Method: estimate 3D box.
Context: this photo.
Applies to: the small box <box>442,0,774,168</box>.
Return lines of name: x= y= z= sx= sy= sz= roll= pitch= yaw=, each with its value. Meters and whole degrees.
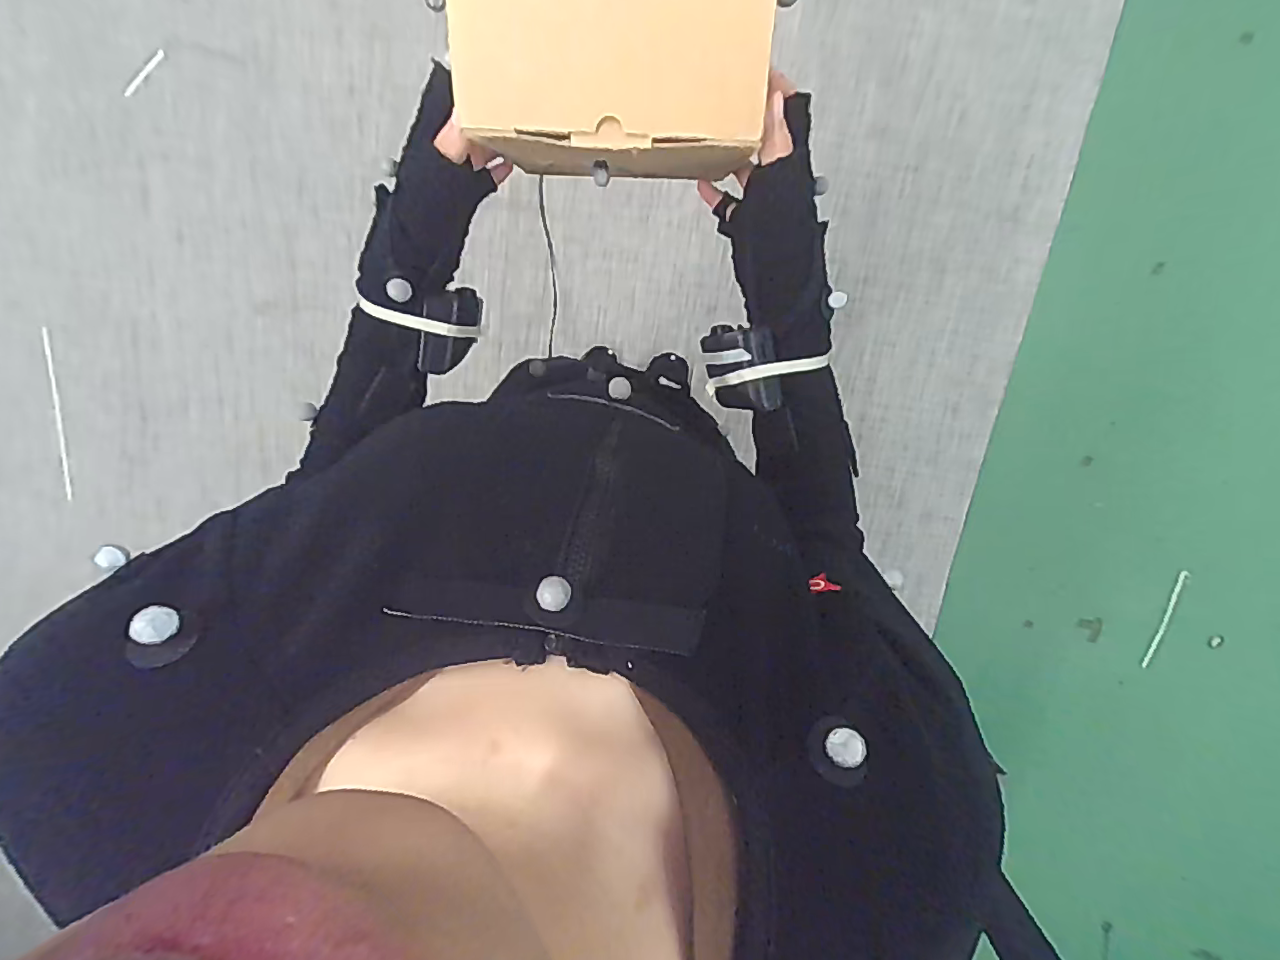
small box: x=-0.014 y=-0.300 z=0.323 sx=0.168 sy=0.176 sz=0.179 roll=2 pitch=115 yaw=1
